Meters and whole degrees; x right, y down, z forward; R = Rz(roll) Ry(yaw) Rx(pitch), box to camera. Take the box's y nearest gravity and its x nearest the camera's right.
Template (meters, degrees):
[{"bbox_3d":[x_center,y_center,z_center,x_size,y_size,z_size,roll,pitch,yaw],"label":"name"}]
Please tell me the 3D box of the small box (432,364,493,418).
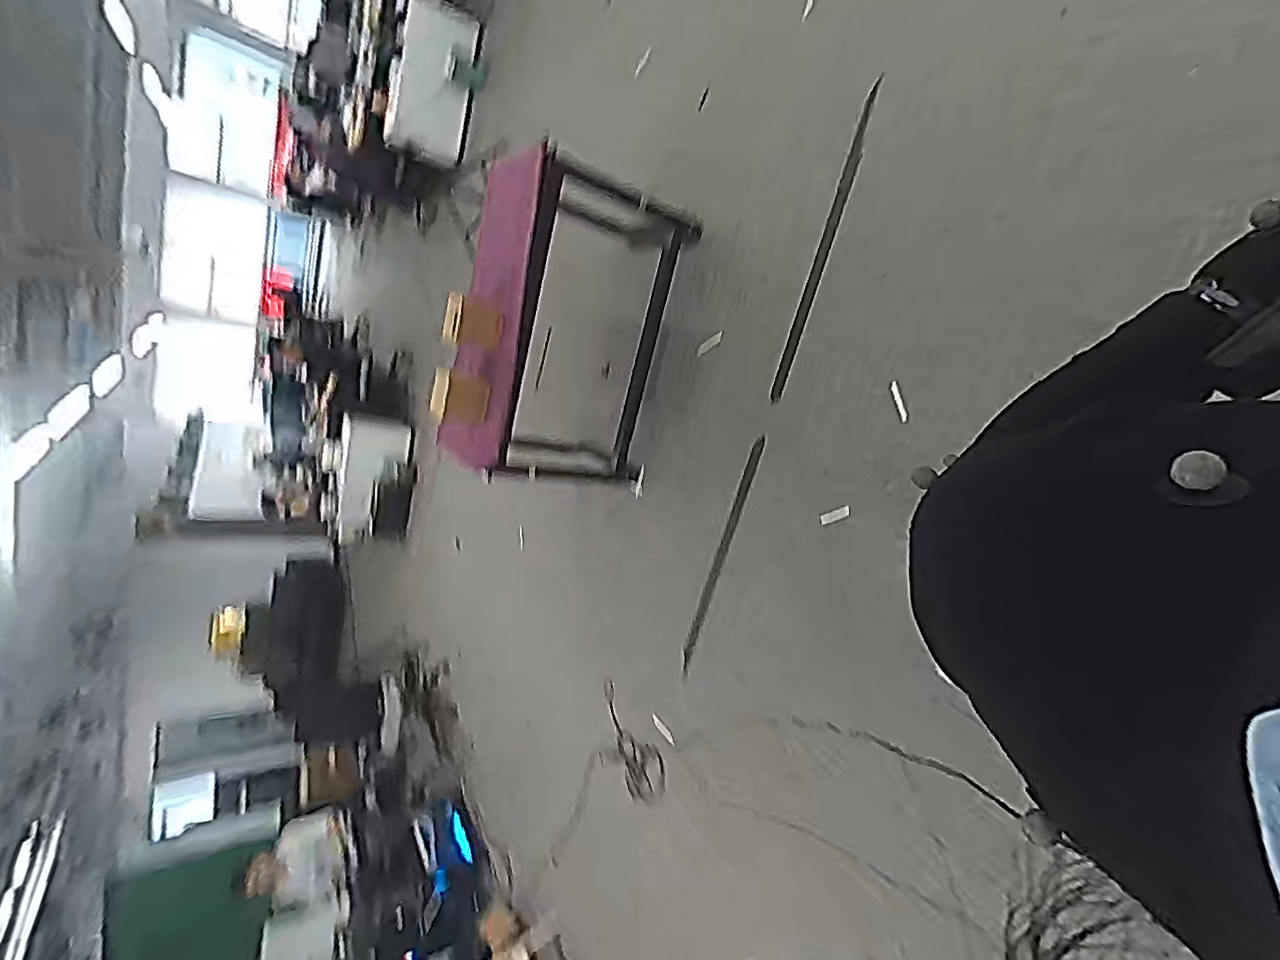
[{"bbox_3d":[-0.706,-0.351,2.147,0.179,0.176,0.168,27,107,50],"label":"small box"}]
